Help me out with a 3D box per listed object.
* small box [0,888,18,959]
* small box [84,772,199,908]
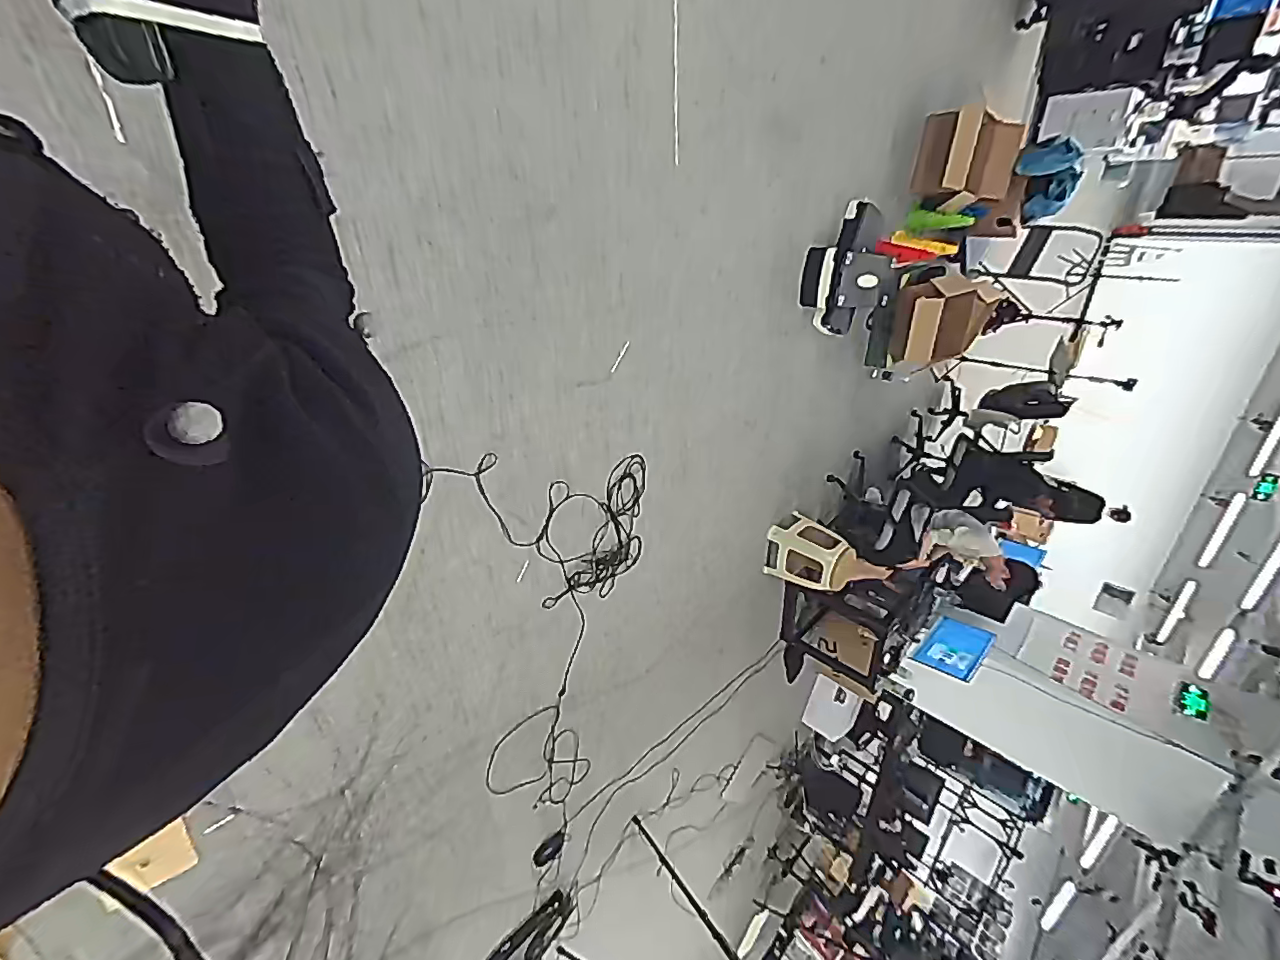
[{"bbox_3d":[-1.425,0.949,1.098,0.168,0.176,0.179,-25,126,-39],"label":"small box"},{"bbox_3d":[-1.201,0.857,1.305,0.168,0.176,0.179,-19,121,-42],"label":"small box"}]
